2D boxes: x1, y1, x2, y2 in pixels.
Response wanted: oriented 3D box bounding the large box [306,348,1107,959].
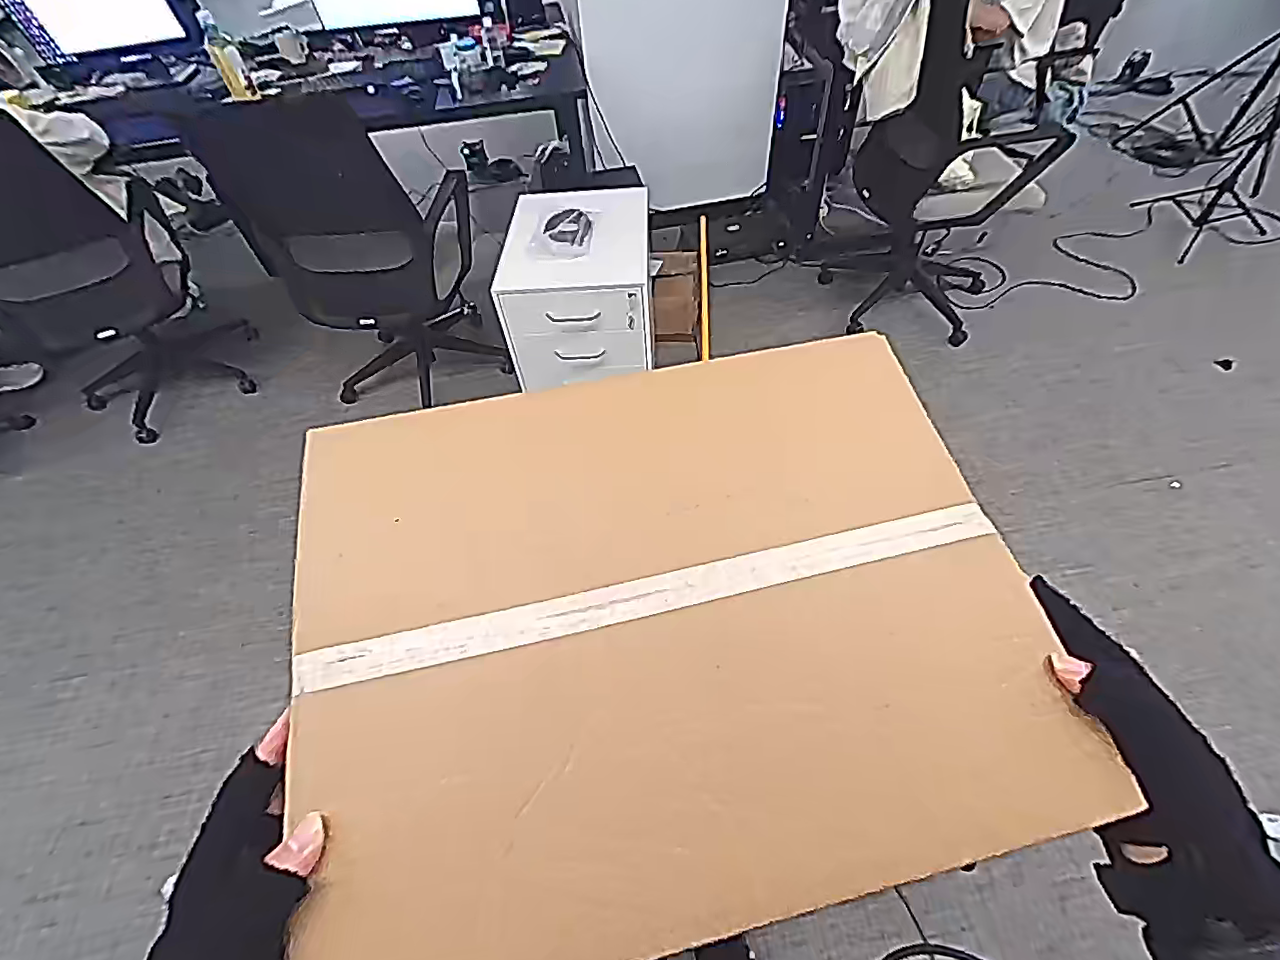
[{"bbox_3d":[0.015,0.140,0.449,0.408,0.320,0.320,-12,63,-6],"label":"large box"}]
